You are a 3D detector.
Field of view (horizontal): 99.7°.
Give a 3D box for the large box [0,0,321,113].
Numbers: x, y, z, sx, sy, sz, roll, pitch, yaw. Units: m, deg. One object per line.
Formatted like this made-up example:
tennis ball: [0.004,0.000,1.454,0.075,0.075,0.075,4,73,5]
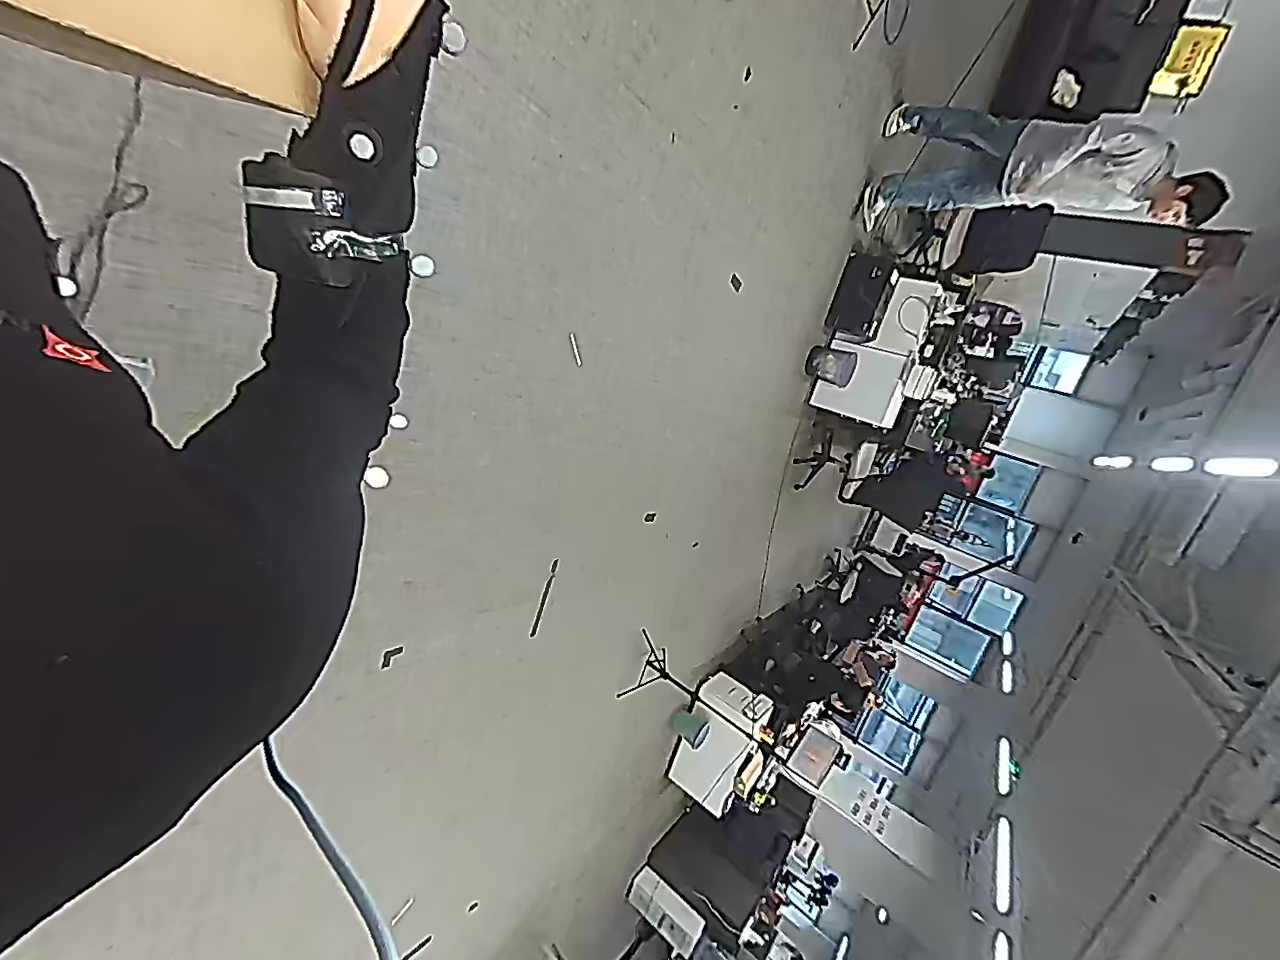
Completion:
large box: [-0.372,-0.369,0.156,0.408,0.320,0.320,-18,131,-56]
